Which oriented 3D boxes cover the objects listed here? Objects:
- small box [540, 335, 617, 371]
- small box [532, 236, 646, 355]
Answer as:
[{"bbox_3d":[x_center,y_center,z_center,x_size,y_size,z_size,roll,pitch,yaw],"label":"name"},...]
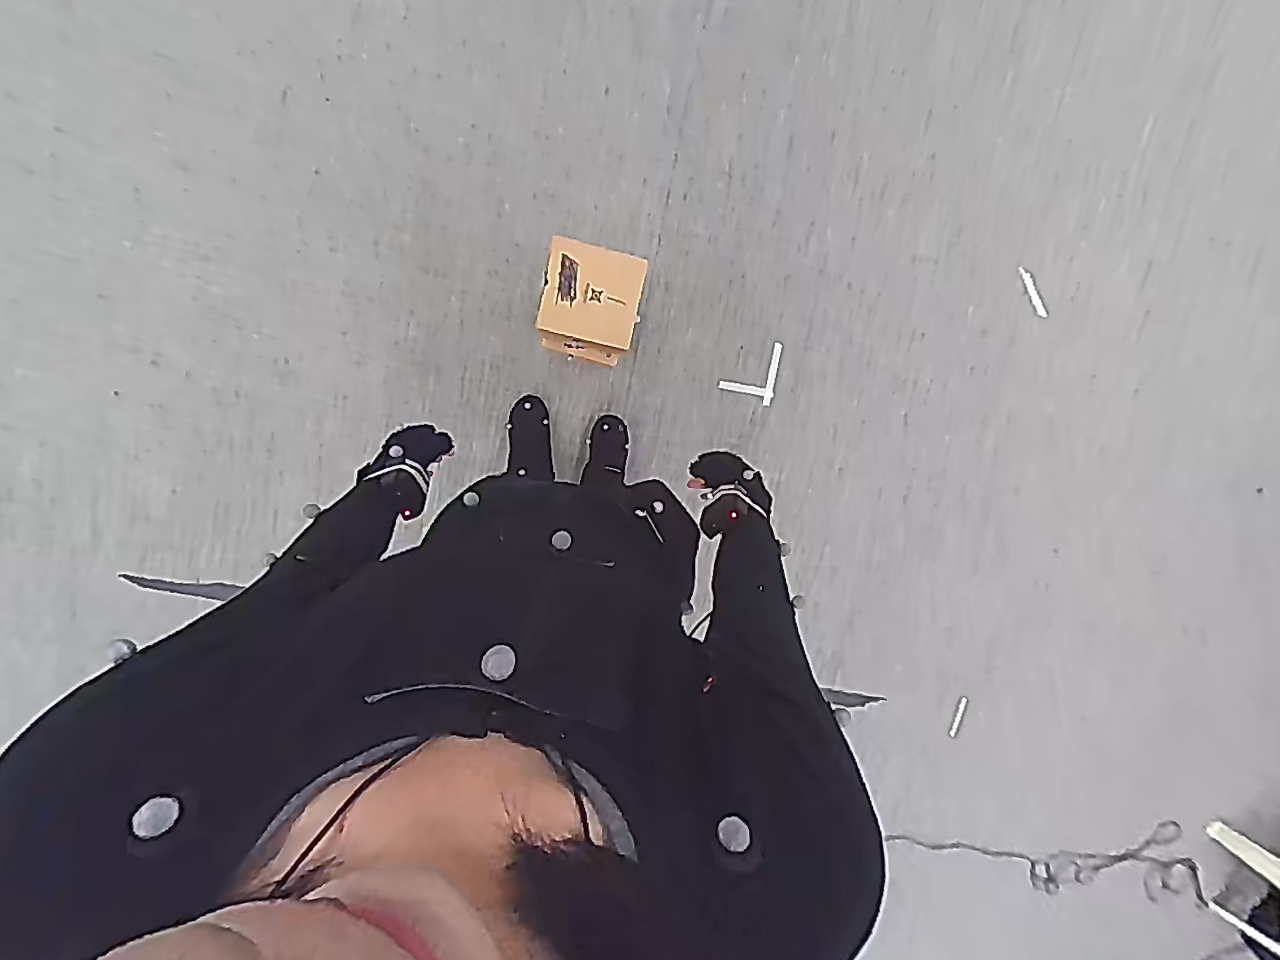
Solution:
[{"bbox_3d":[-0.121,-0.354,1.212,0.168,0.176,0.179,15,96,-8],"label":"small box"},{"bbox_3d":[-0.100,-0.345,1.047,0.179,0.176,0.168,12,98,-9],"label":"small box"}]
